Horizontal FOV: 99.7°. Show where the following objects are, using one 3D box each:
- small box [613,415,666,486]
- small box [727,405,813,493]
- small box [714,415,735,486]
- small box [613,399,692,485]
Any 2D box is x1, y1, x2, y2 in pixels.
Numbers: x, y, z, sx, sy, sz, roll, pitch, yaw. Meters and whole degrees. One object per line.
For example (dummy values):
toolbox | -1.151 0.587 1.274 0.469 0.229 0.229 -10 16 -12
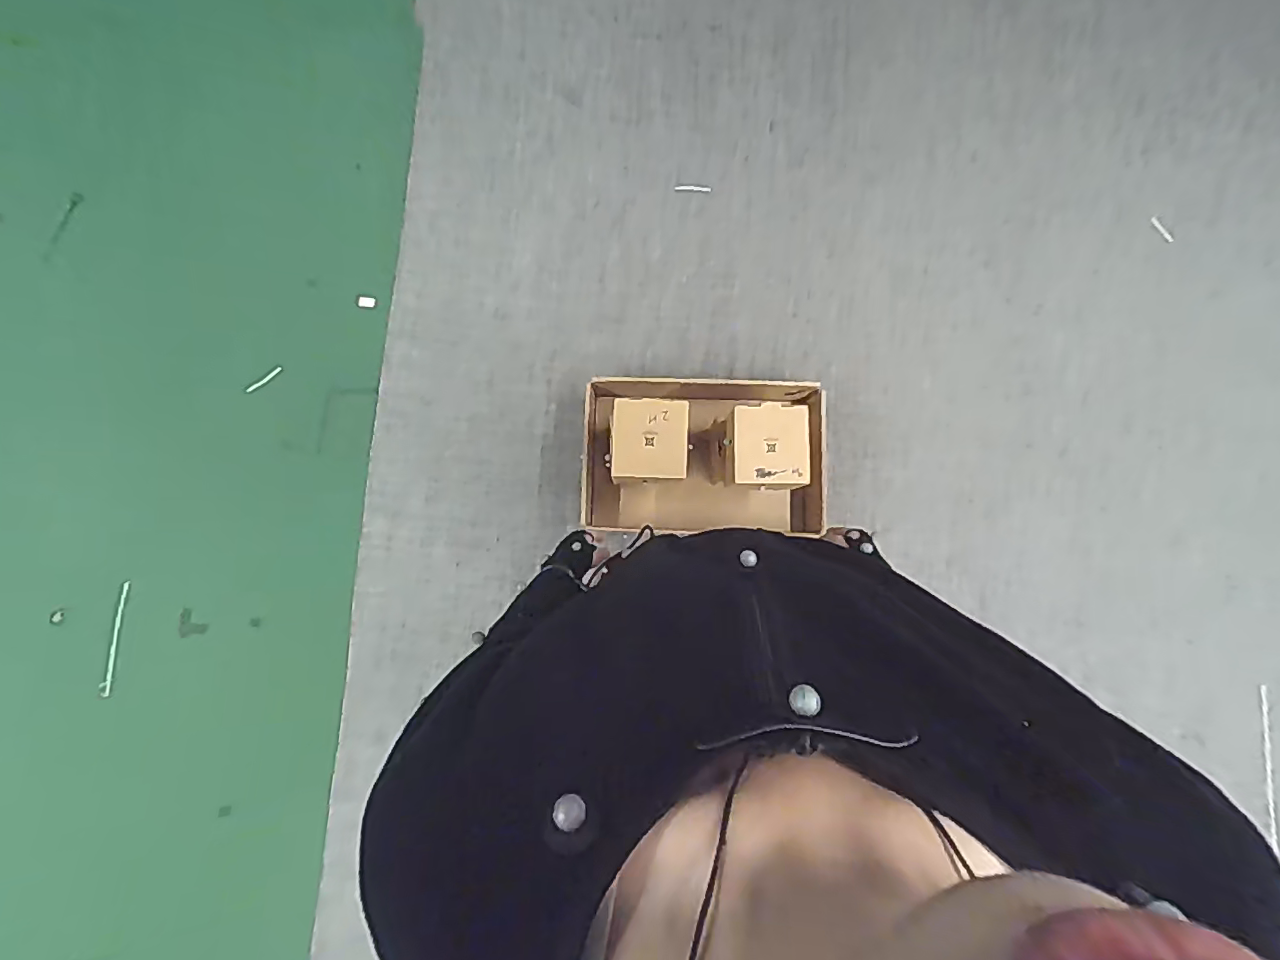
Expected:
small box | 0.019 -0.074 1.422 0.179 0.176 0.168 -1 85 -2
small box | 0.295 -0.067 1.253 0.168 0.176 0.179 1 84 1
small box | 0.290 -0.075 1.417 0.179 0.176 0.168 -2 85 -1
small box | 0.028 -0.082 1.257 0.168 0.176 0.179 3 85 0
